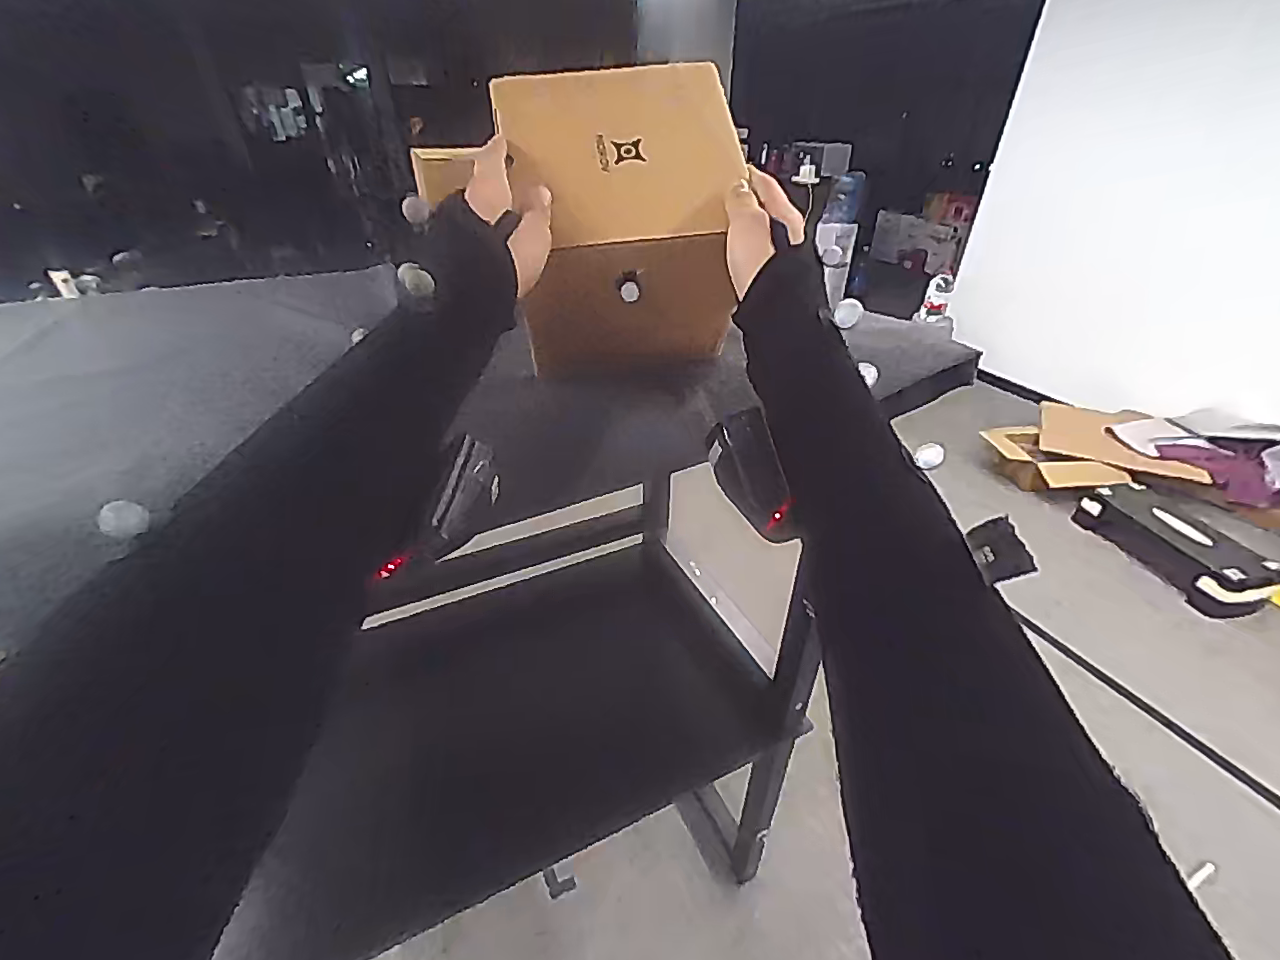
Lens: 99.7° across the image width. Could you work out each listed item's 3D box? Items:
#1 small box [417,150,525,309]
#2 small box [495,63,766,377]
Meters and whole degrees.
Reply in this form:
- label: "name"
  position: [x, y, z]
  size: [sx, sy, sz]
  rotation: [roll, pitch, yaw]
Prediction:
- label: "small box"
  position: [-0.183, -0.329, 0.708]
  size: [0.168, 0.176, 0.179]
  rotation: [-13, 36, -18]
- label: "small box"
  position: [-0.014, -0.207, 0.461]
  size: [0.179, 0.176, 0.168]
  rotation: [-9, 71, -5]
